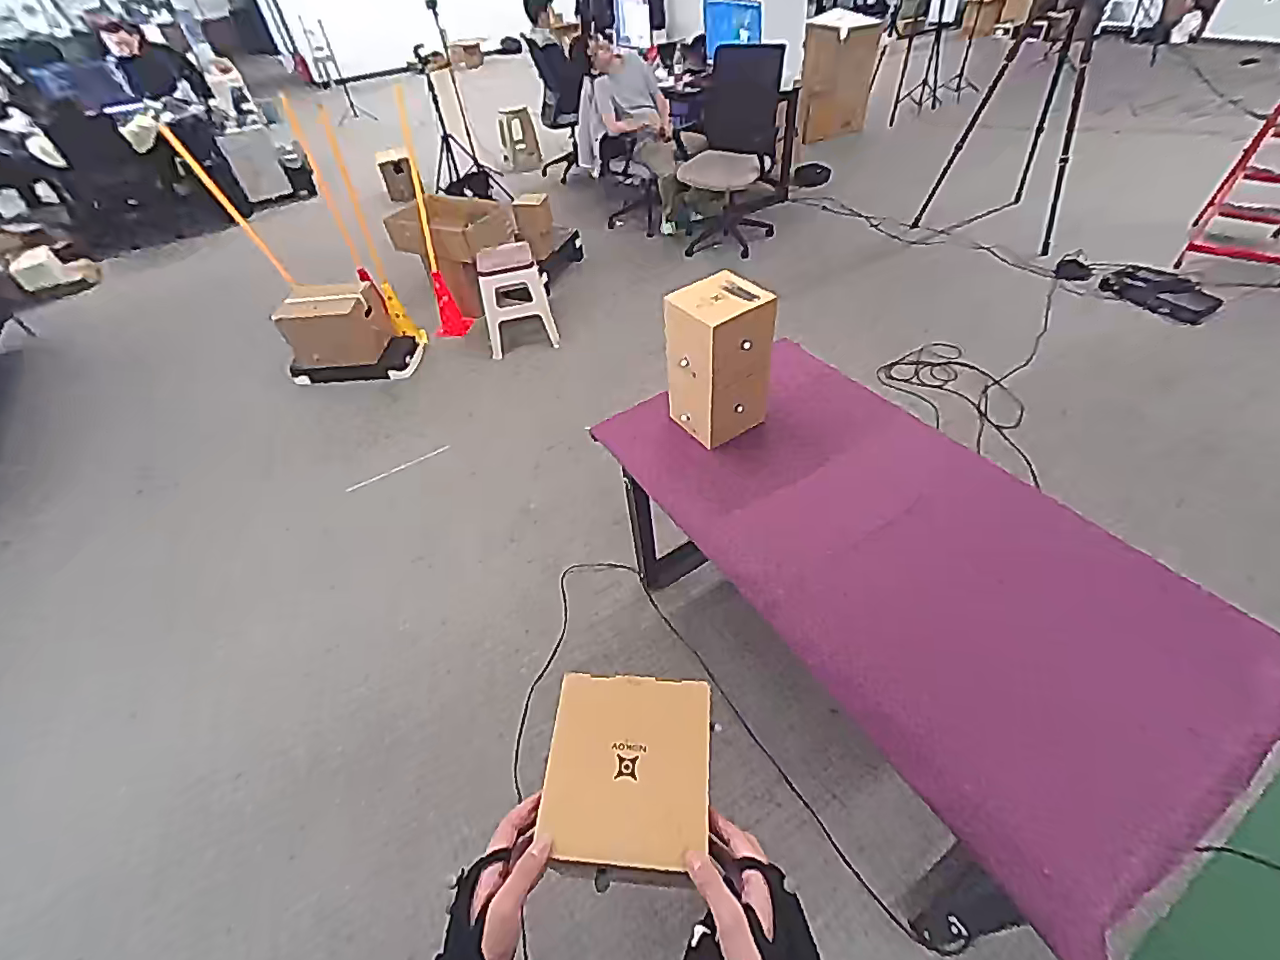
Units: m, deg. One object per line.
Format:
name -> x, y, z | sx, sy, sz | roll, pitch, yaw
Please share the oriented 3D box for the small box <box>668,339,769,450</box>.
small box -> 0.183, -0.205, 1.304 | 0.179, 0.176, 0.168 | -29, 50, -20
